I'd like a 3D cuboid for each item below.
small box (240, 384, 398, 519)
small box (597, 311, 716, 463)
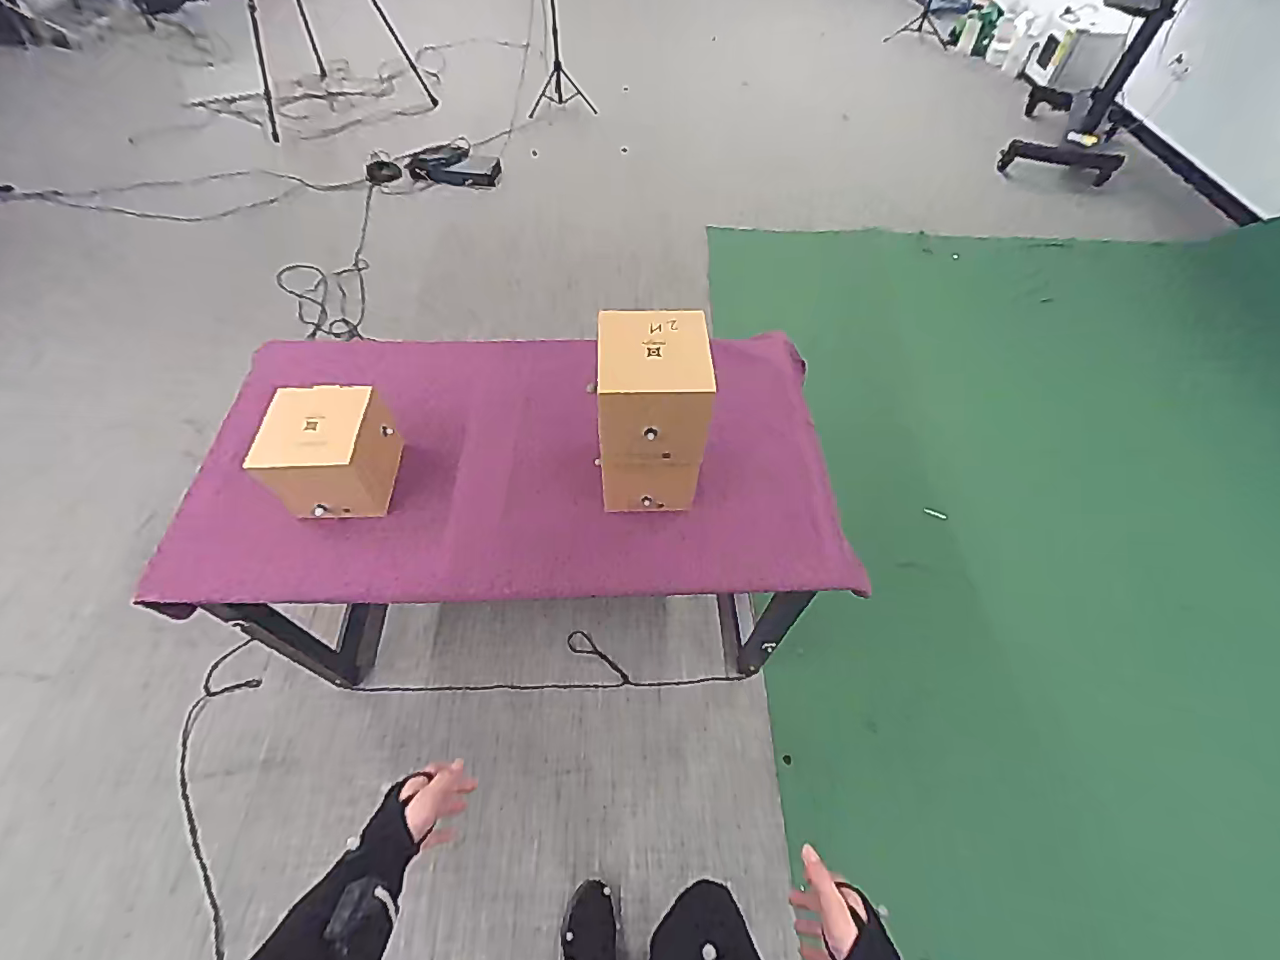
[{"bbox_3d":[-0.547,-0.048,0.954,0.168,0.176,0.179,-1,56,-3],"label":"small box"},{"bbox_3d":[0.020,-0.139,0.841,0.168,0.176,0.179,0,55,-3],"label":"small box"}]
